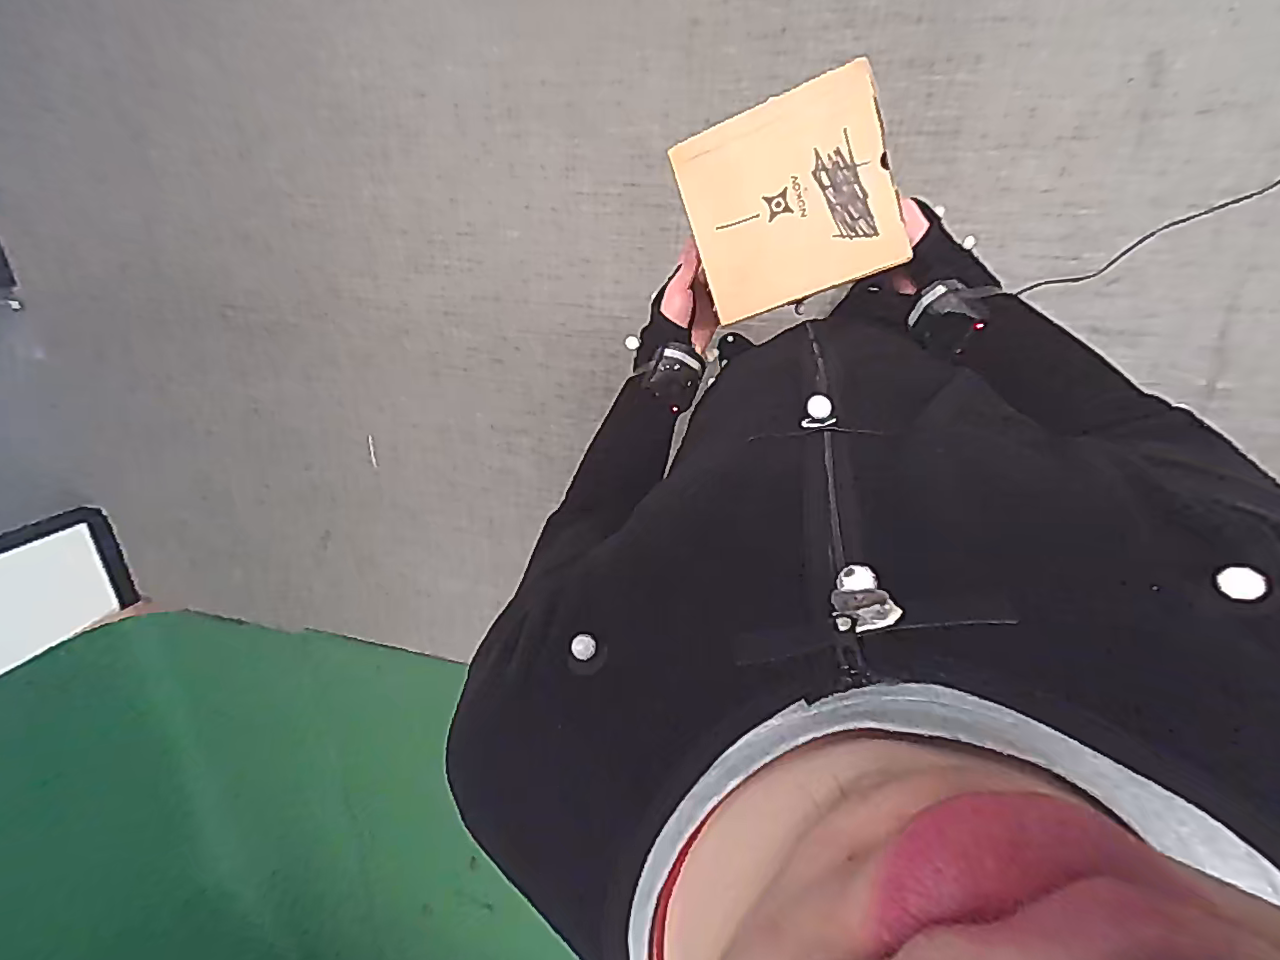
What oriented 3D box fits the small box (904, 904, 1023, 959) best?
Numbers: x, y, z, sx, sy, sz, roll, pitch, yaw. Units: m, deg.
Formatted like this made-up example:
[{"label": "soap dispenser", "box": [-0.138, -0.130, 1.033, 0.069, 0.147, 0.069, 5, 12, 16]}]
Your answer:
[{"label": "small box", "box": [0.626, 0.961, 1.032, 0.179, 0.176, 0.168, 7, 113, 13]}]
